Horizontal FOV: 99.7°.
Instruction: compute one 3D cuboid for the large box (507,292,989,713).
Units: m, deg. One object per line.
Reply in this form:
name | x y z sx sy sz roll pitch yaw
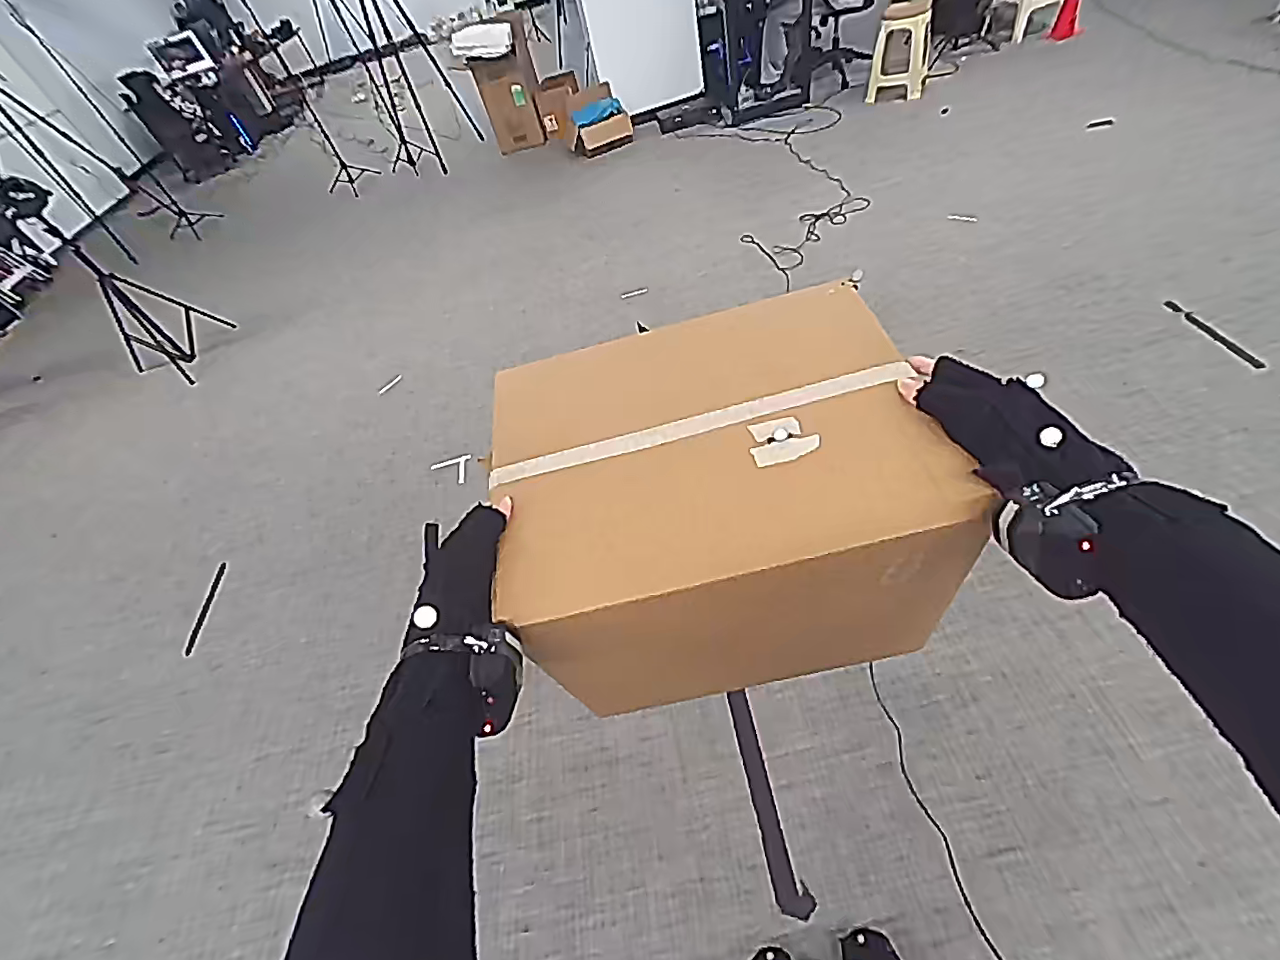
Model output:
large box | 0.089 0.042 0.641 0.408 0.320 0.320 -14 53 3
